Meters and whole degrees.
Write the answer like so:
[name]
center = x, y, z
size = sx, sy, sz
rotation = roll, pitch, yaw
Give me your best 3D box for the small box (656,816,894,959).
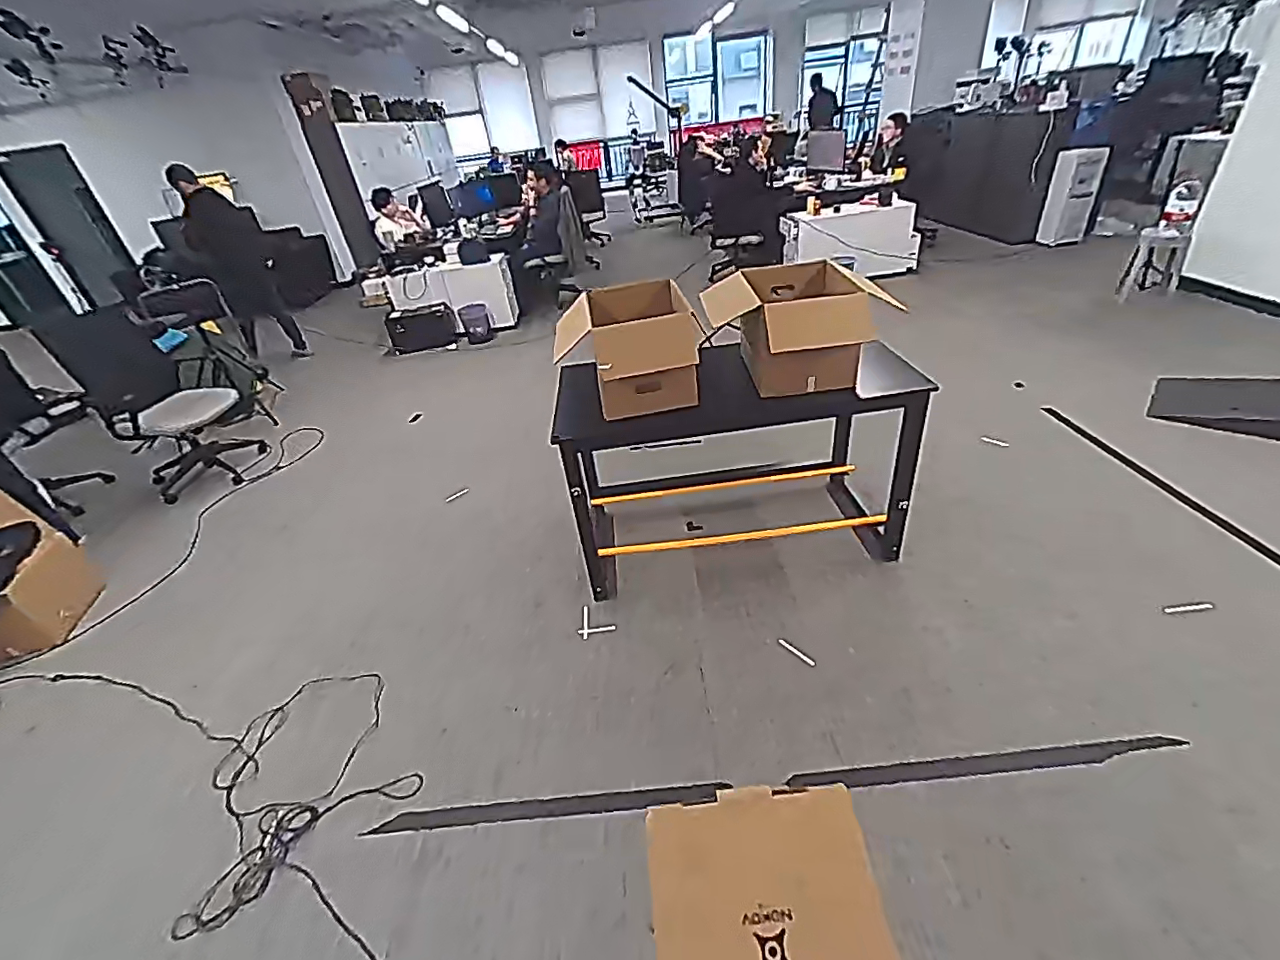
[small box]
center = 0.105, 0.399, 0.444
size = 0.168, 0.176, 0.179
rotation = -8, 50, 1
